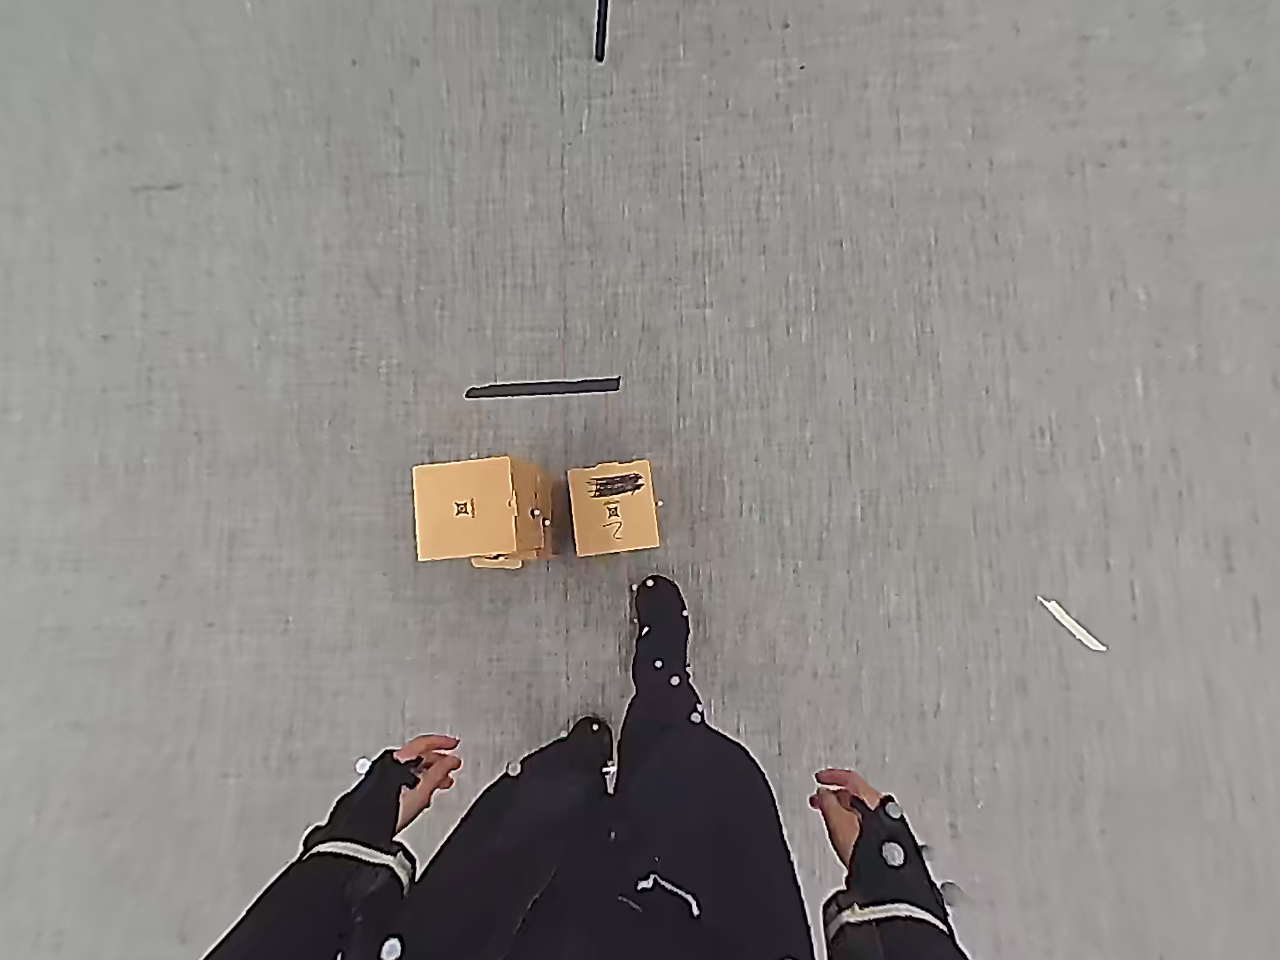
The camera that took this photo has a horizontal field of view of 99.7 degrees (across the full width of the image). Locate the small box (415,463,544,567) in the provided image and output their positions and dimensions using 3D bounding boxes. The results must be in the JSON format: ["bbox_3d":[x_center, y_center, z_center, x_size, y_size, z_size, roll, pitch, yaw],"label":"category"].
[{"bbox_3d":[-0.287,0.068,0.994,0.179,0.176,0.168,-7,84,3],"label":"small box"}]

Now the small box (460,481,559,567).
[{"bbox_3d":[-0.273,0.092,1.154,0.168,0.176,0.179,1,84,4],"label":"small box"}]
